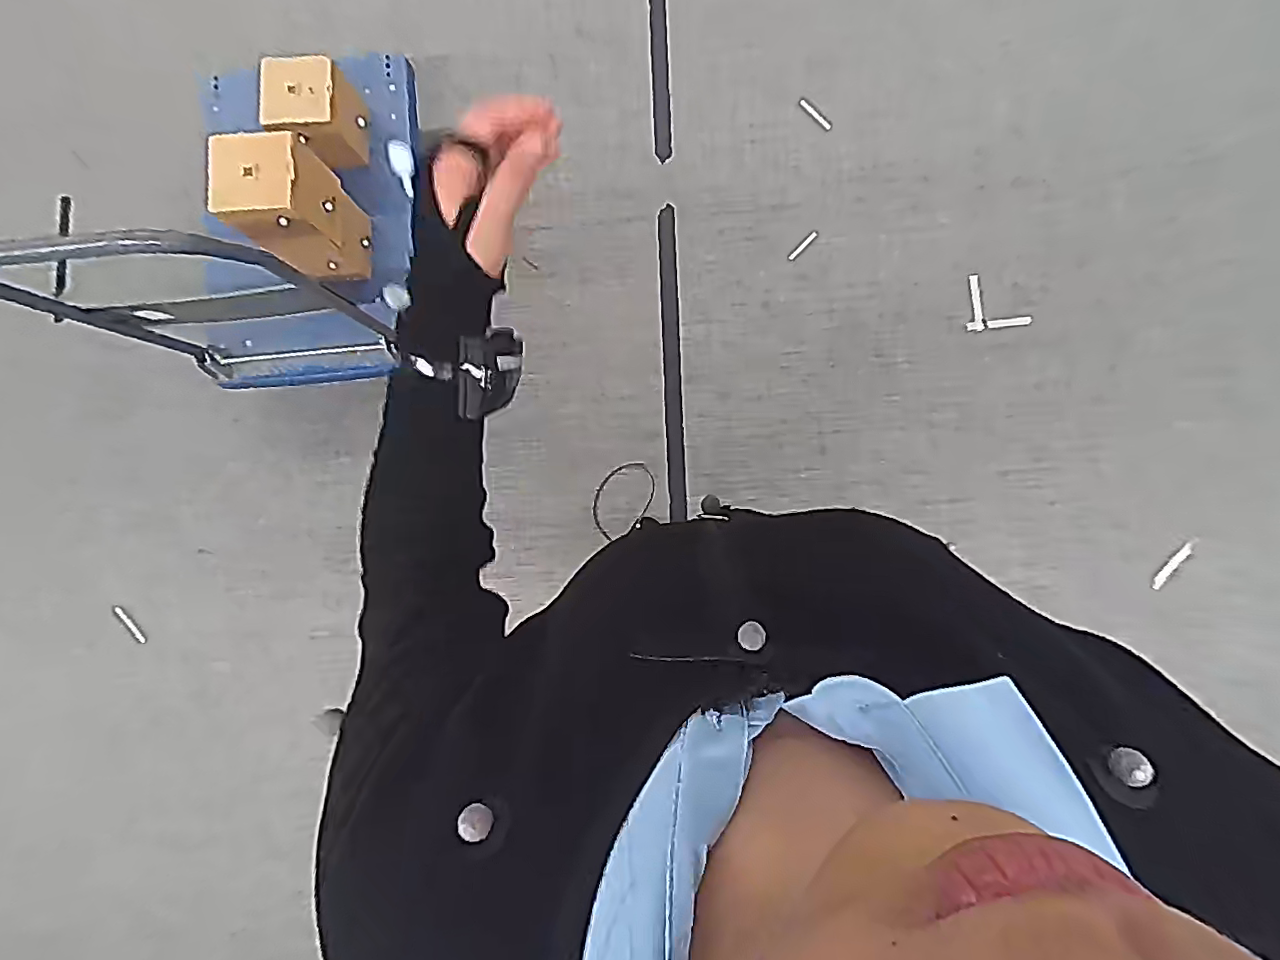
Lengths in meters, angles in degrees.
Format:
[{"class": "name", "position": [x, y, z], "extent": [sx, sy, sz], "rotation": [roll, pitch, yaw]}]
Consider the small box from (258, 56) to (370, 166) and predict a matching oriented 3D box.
[{"class": "small box", "position": [-0.806, -0.910, 1.349], "extent": [0.179, 0.176, 0.168], "rotation": [-1, 87, 2]}]

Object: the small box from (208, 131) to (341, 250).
[{"class": "small box", "position": [-0.781, -0.615, 1.167], "extent": [0.179, 0.176, 0.168], "rotation": [-3, 86, 1]}]
